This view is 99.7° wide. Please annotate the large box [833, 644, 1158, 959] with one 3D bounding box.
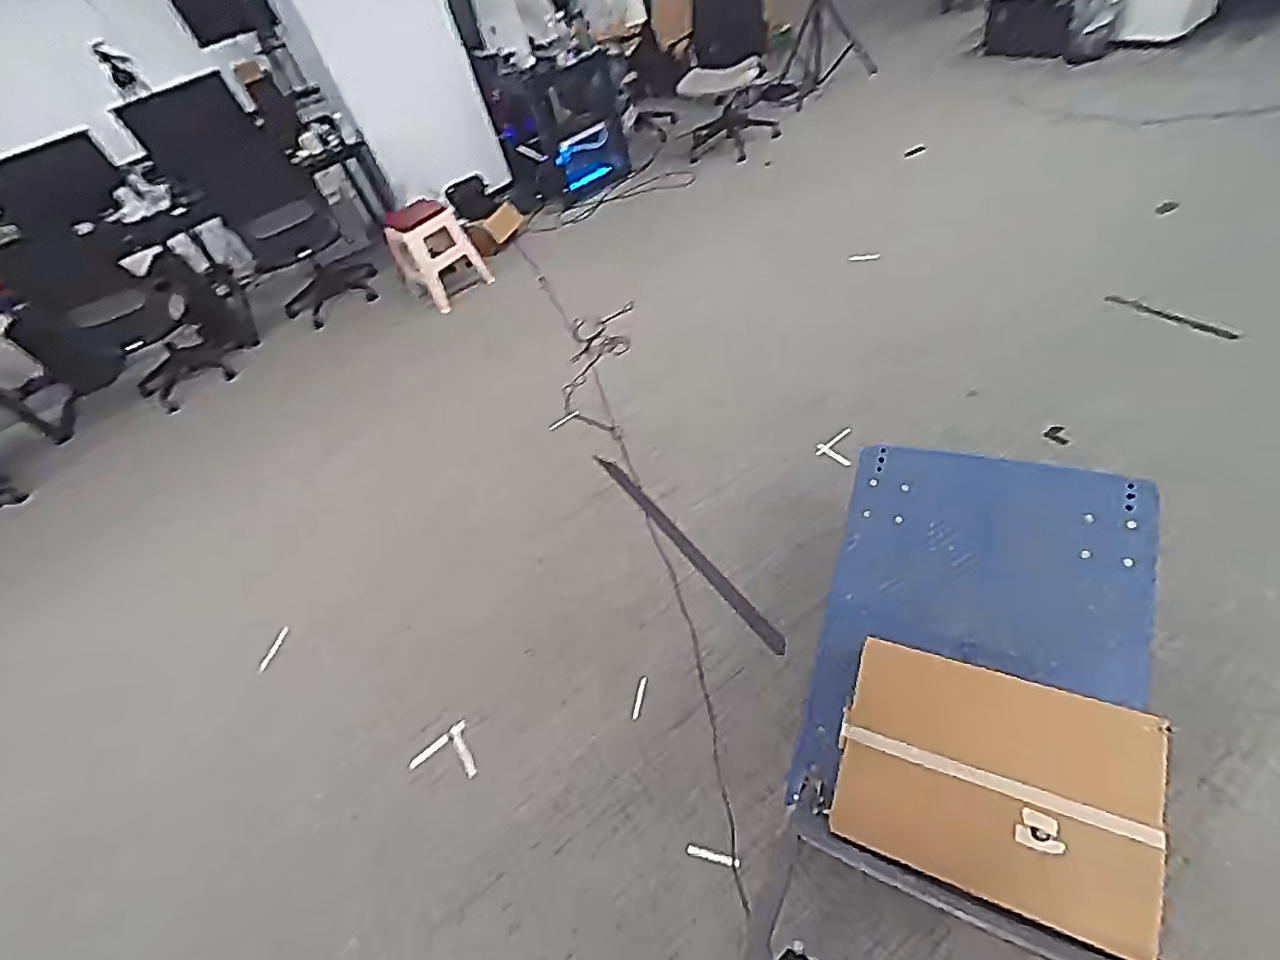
[{"bbox_3d":[0.575,0.507,0.952,0.408,0.320,0.320,11,75,25],"label":"large box"}]
